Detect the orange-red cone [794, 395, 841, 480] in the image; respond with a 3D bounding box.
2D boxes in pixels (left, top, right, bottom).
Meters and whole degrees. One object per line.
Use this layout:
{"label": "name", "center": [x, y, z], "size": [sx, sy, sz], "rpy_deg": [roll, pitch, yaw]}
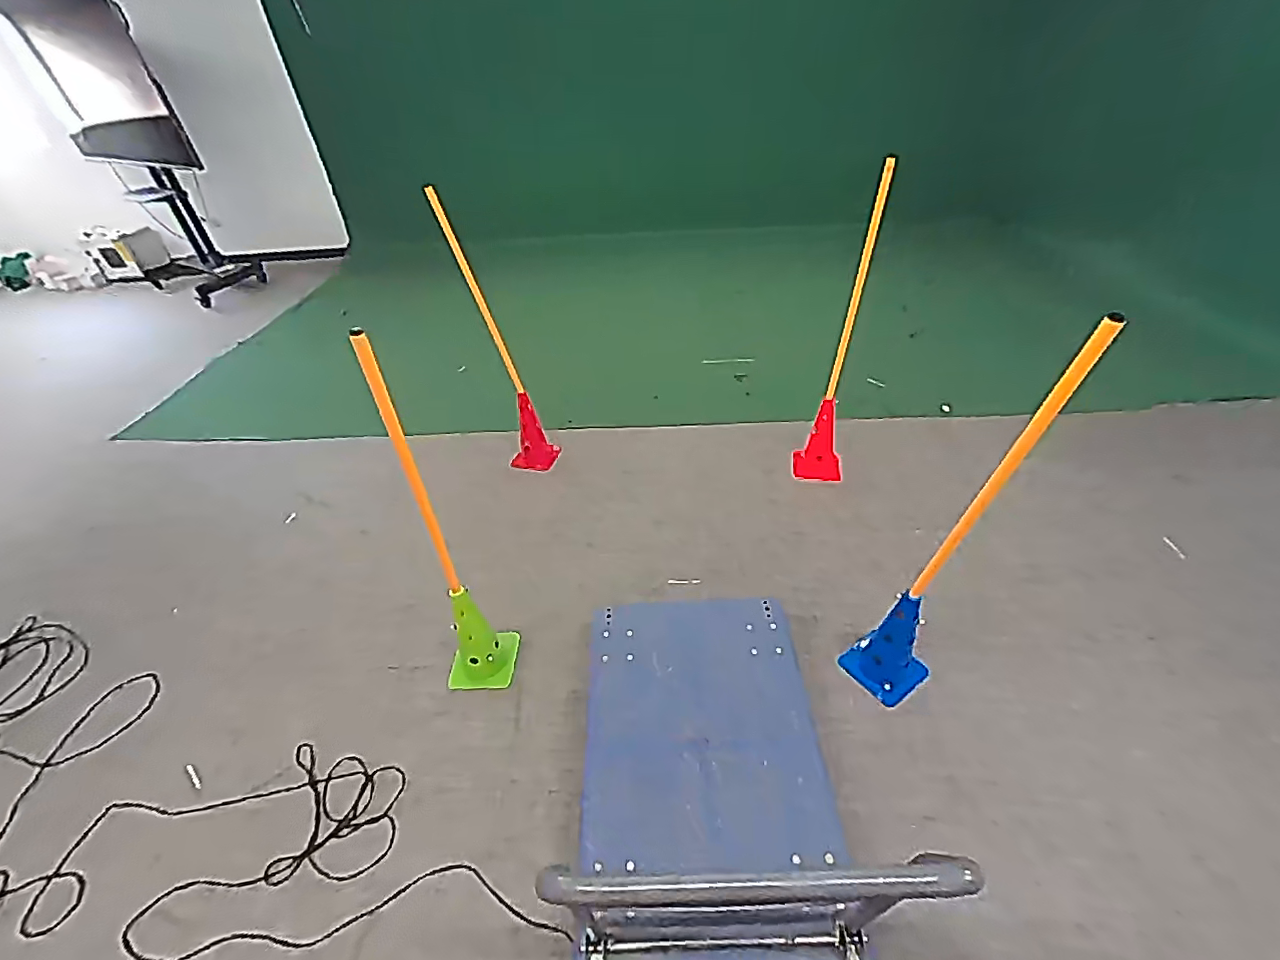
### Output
{"label": "orange-red cone", "center": [0.776, -0.199, 2.294], "size": [0.198, 0.360, 0.199], "rpy_deg": [5, 42, 13]}
